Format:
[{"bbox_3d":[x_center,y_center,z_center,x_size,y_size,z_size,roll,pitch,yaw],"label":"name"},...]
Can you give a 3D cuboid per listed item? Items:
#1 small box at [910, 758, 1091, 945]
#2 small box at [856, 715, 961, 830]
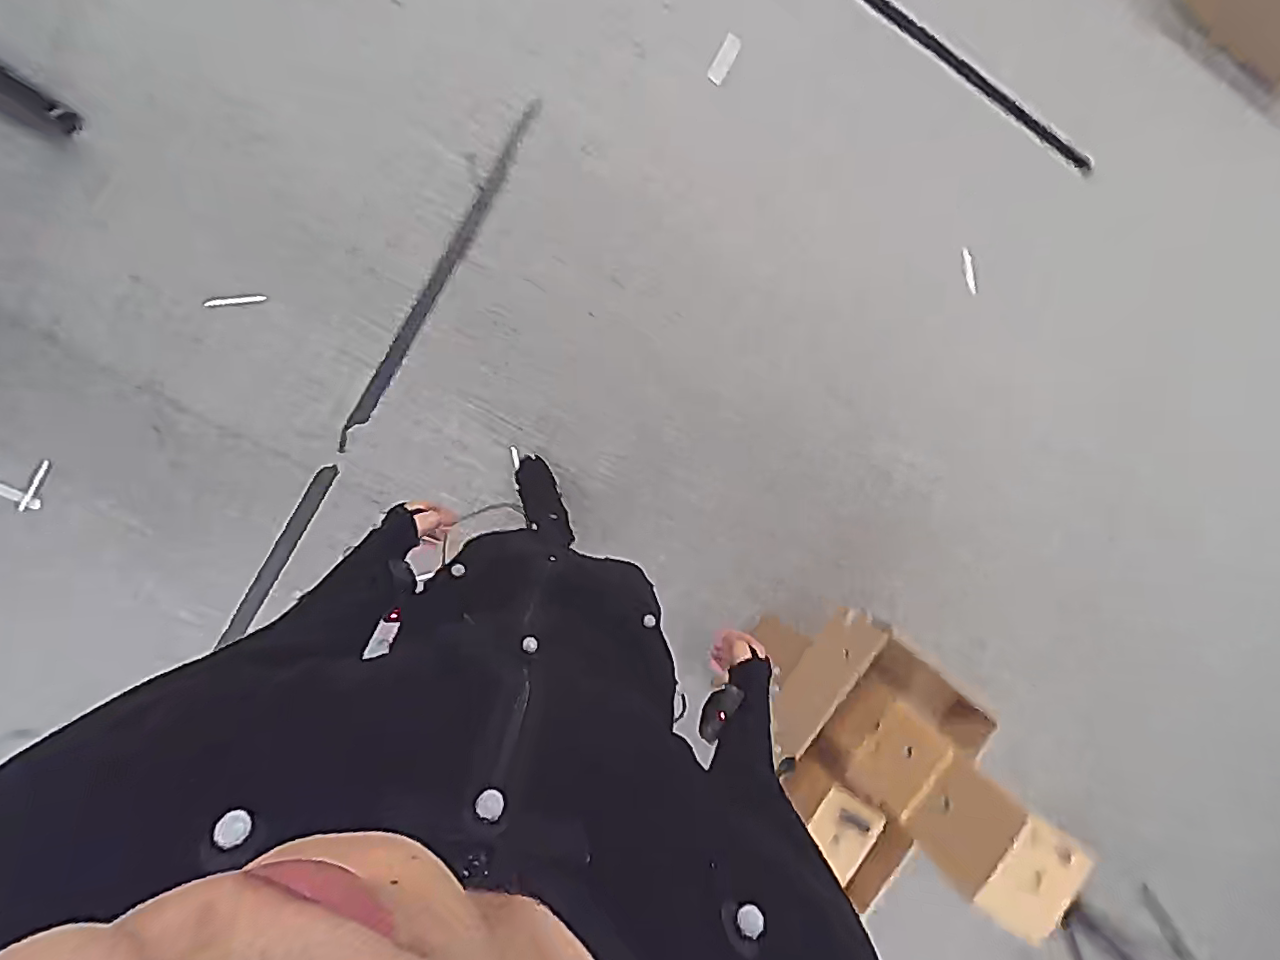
[{"bbox_3d":[0.616,0.642,0.953,0.168,0.176,0.179,37,91,-11],"label":"small box"},{"bbox_3d":[0.586,0.618,1.112,0.179,0.176,0.168,38,90,-11],"label":"small box"}]
